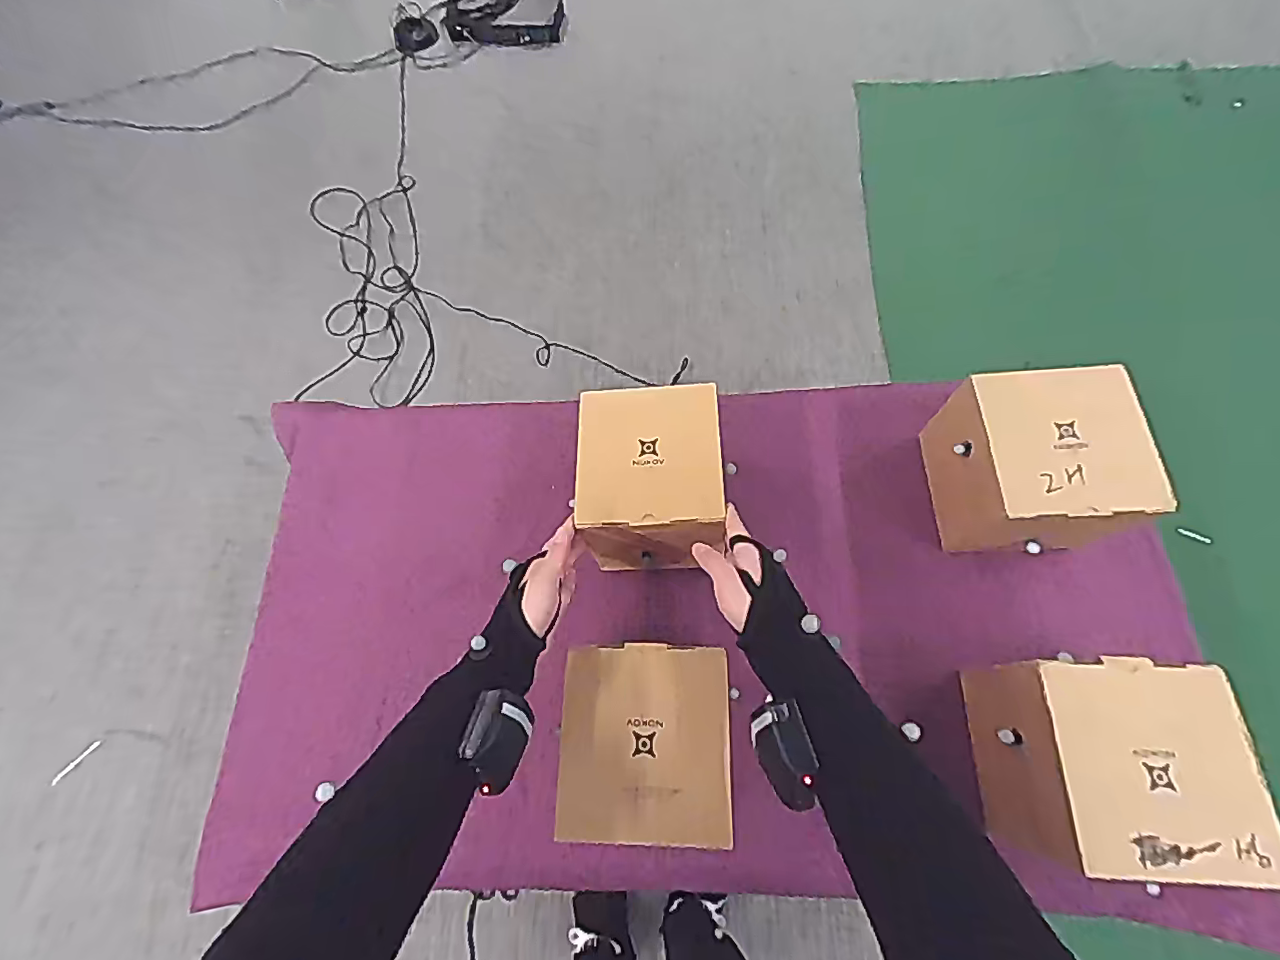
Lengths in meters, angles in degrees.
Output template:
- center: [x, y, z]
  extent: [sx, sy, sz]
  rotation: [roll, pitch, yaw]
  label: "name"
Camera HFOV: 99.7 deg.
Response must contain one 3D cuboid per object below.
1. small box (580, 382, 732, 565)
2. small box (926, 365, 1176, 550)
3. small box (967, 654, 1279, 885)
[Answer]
- center: [0.024, -0.001, 0.679]
  extent: [0.168, 0.176, 0.179]
  rotation: [-3, 65, 5]
  label: "small box"
- center: [0.475, -0.019, 0.662]
  extent: [0.168, 0.176, 0.179]
  rotation: [-3, 70, 7]
  label: "small box"
- center: [0.465, 0.280, 0.552]
  extent: [0.168, 0.176, 0.179]
  rotation: [0, 67, 6]
  label: "small box"
